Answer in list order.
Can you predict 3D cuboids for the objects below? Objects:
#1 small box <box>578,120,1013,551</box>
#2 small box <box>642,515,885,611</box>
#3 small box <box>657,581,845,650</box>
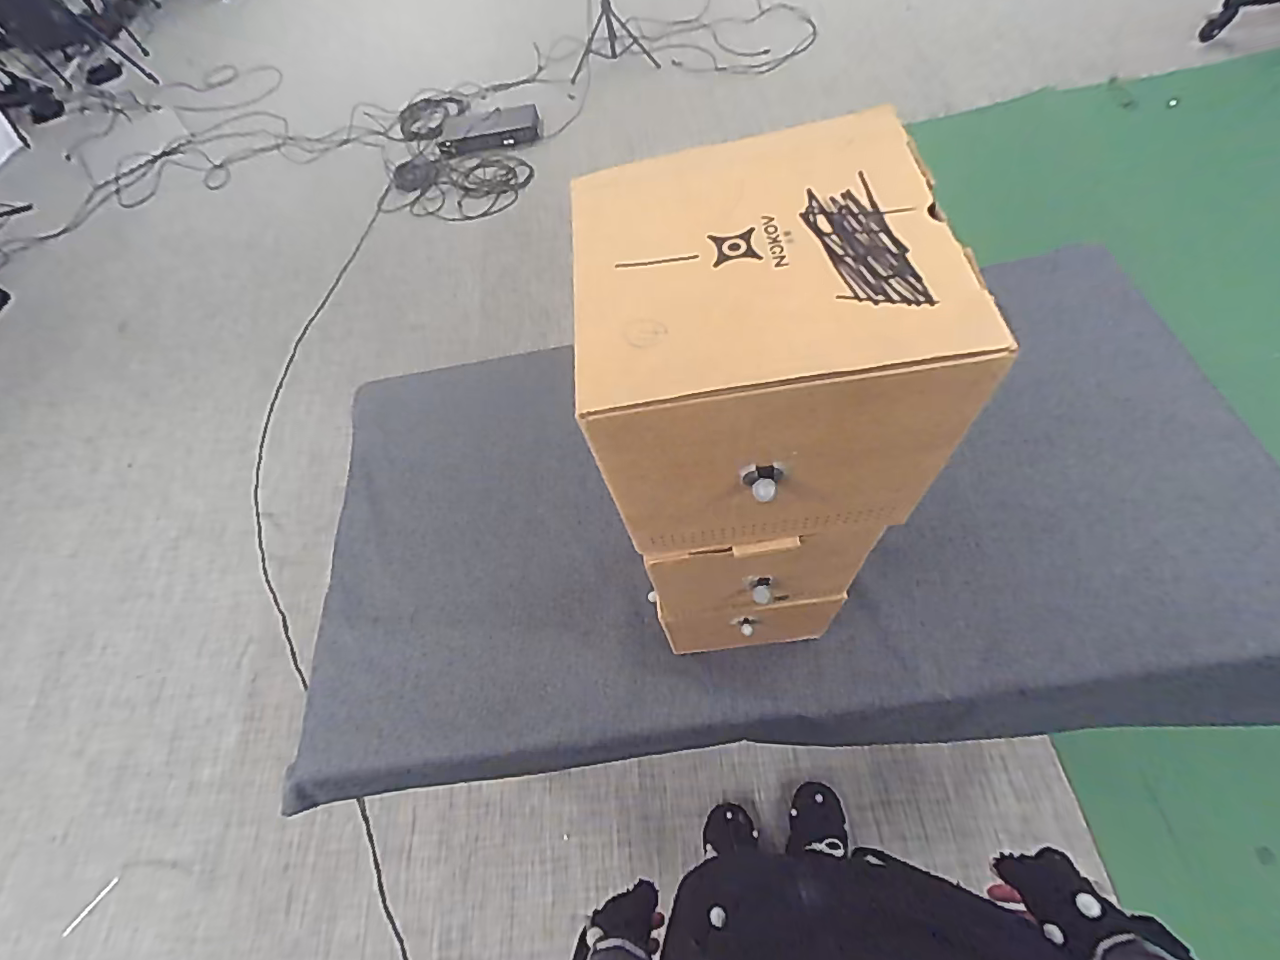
[{"bbox_3d":[0.068,-0.068,0.323,0.179,0.176,0.168,-8,61,7],"label":"small box"},{"bbox_3d":[0.086,0.006,0.470,0.168,0.176,0.179,-10,62,4],"label":"small box"},{"bbox_3d":[0.110,0.087,0.610,0.179,0.176,0.168,-8,61,4],"label":"small box"}]
